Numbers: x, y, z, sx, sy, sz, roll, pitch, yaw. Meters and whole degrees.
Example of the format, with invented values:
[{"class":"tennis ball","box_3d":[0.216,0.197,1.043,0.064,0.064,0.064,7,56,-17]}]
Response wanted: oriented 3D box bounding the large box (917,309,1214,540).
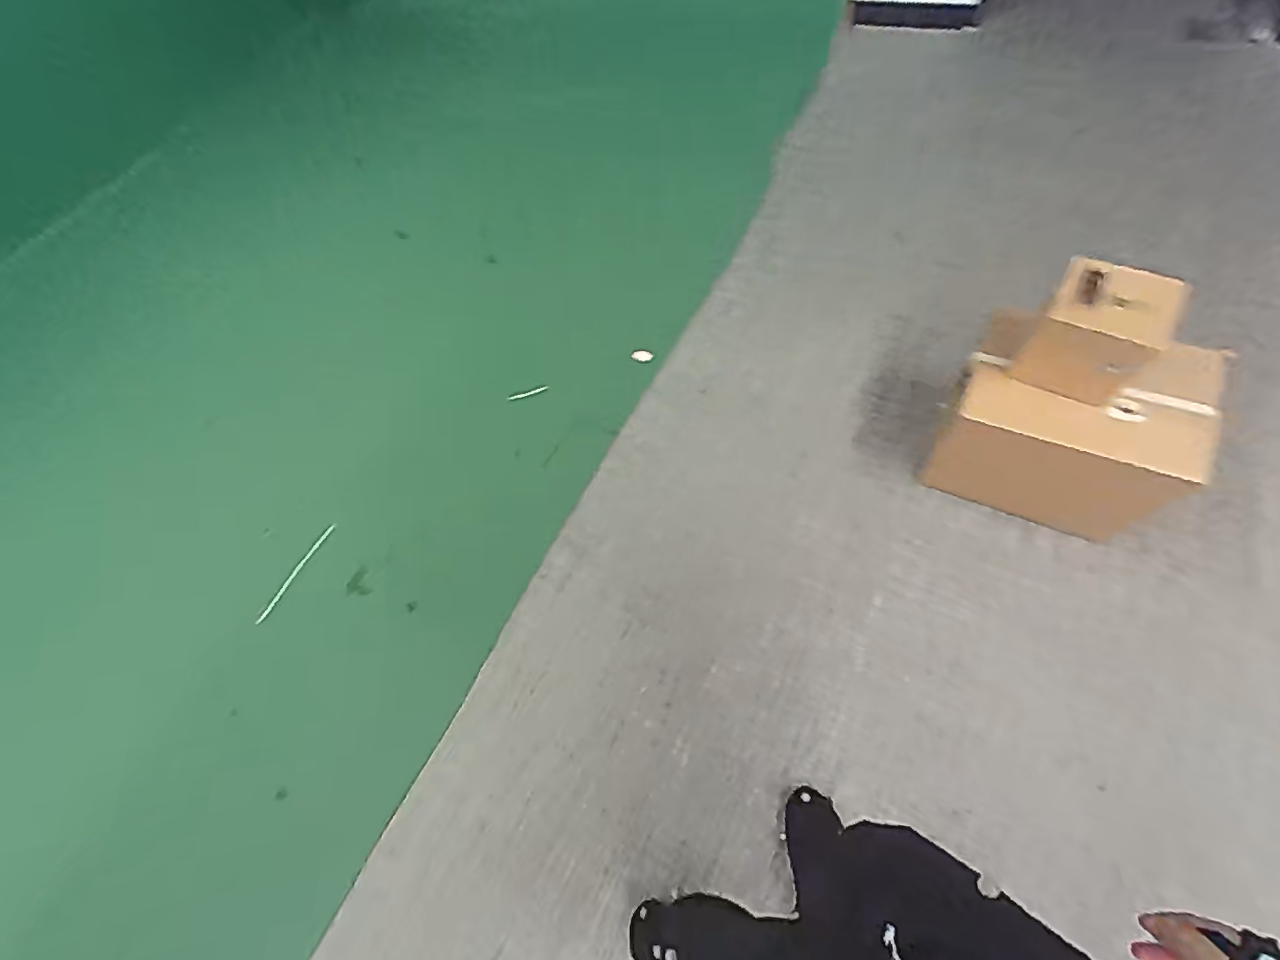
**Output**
[{"class":"large box","box_3d":[0.896,-0.117,1.192,0.408,0.320,0.320,21,70,19]}]
